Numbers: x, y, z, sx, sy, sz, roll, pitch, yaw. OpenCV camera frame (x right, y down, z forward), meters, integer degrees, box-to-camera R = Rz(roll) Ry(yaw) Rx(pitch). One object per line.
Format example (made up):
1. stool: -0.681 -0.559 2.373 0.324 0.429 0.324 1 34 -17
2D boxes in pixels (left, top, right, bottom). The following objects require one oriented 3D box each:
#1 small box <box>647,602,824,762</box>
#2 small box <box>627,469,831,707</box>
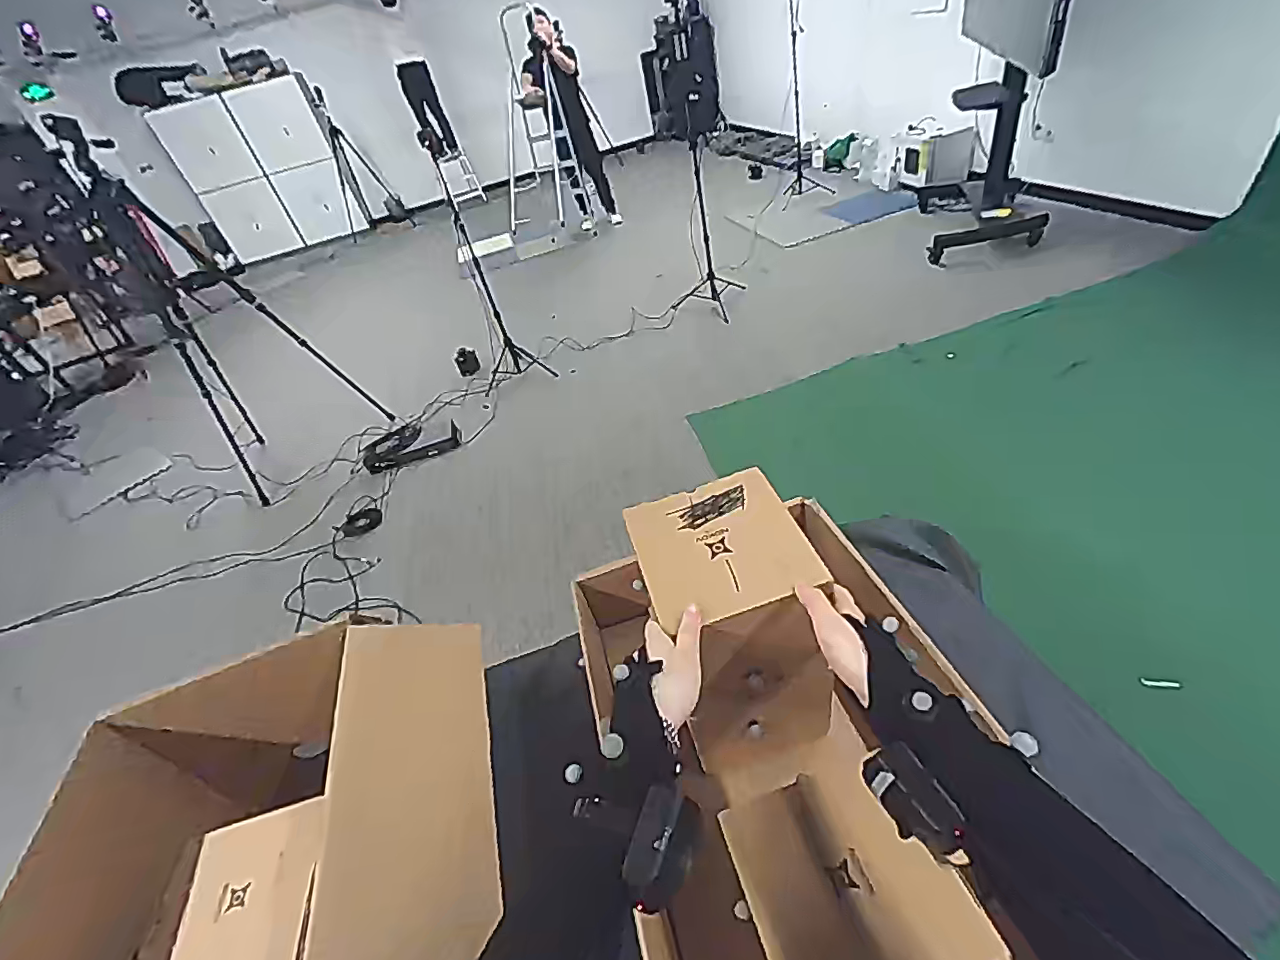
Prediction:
1. small box: 0.127 0.243 0.716 0.179 0.176 0.168 -19 43 -3
2. small box: 0.094 0.121 0.610 0.168 0.176 0.179 -18 43 -3
